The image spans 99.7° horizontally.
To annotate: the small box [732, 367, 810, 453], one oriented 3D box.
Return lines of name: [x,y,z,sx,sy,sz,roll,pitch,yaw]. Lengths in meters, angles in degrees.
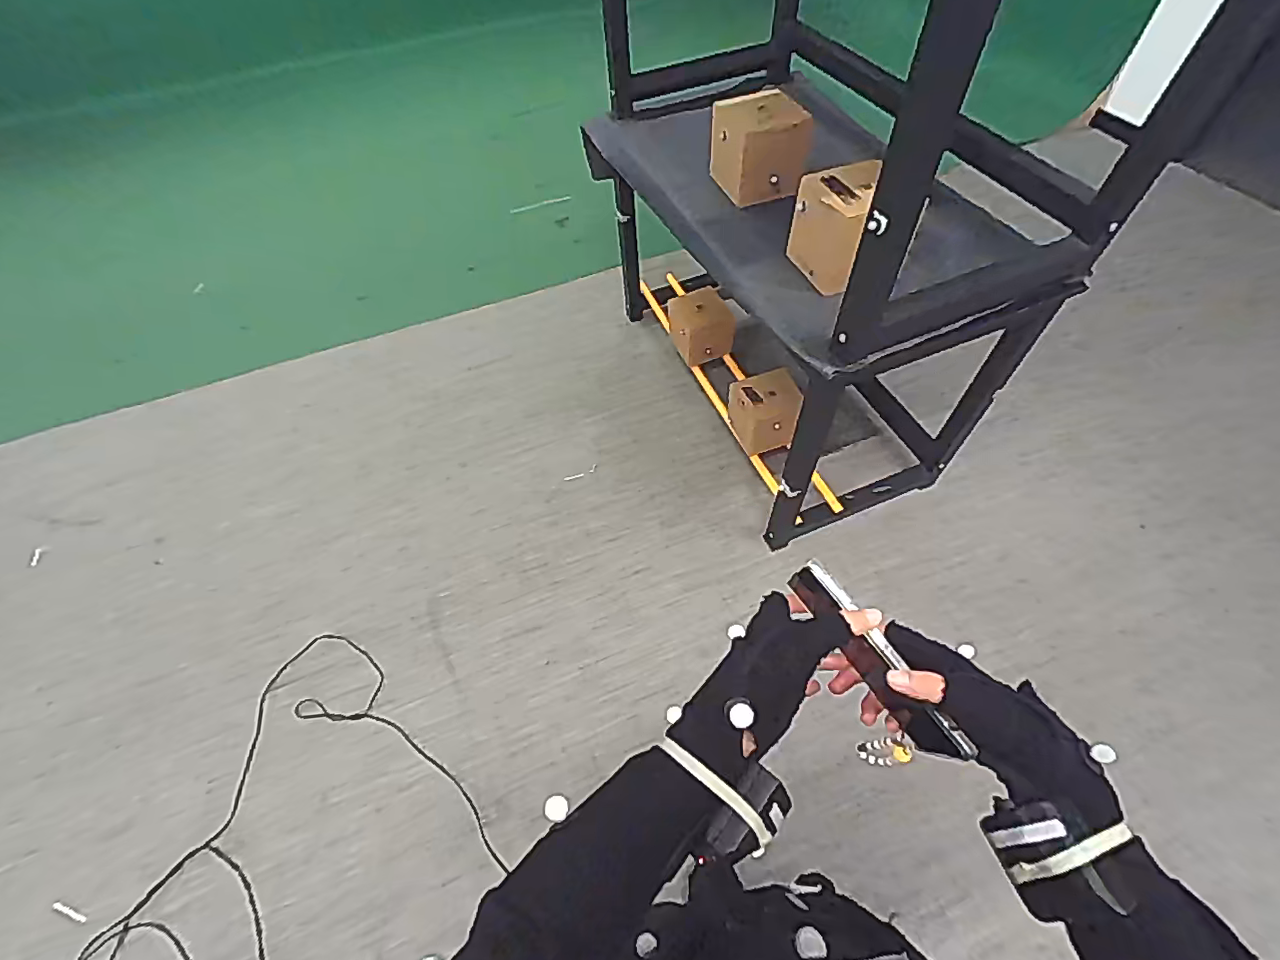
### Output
small box: [0.386,-0.205,1.631,0.179,0.176,0.168,-18,57,-7]

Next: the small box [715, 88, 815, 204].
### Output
small box: [0.284,-0.787,1.278,0.168,0.176,0.179,-18,56,-7]
